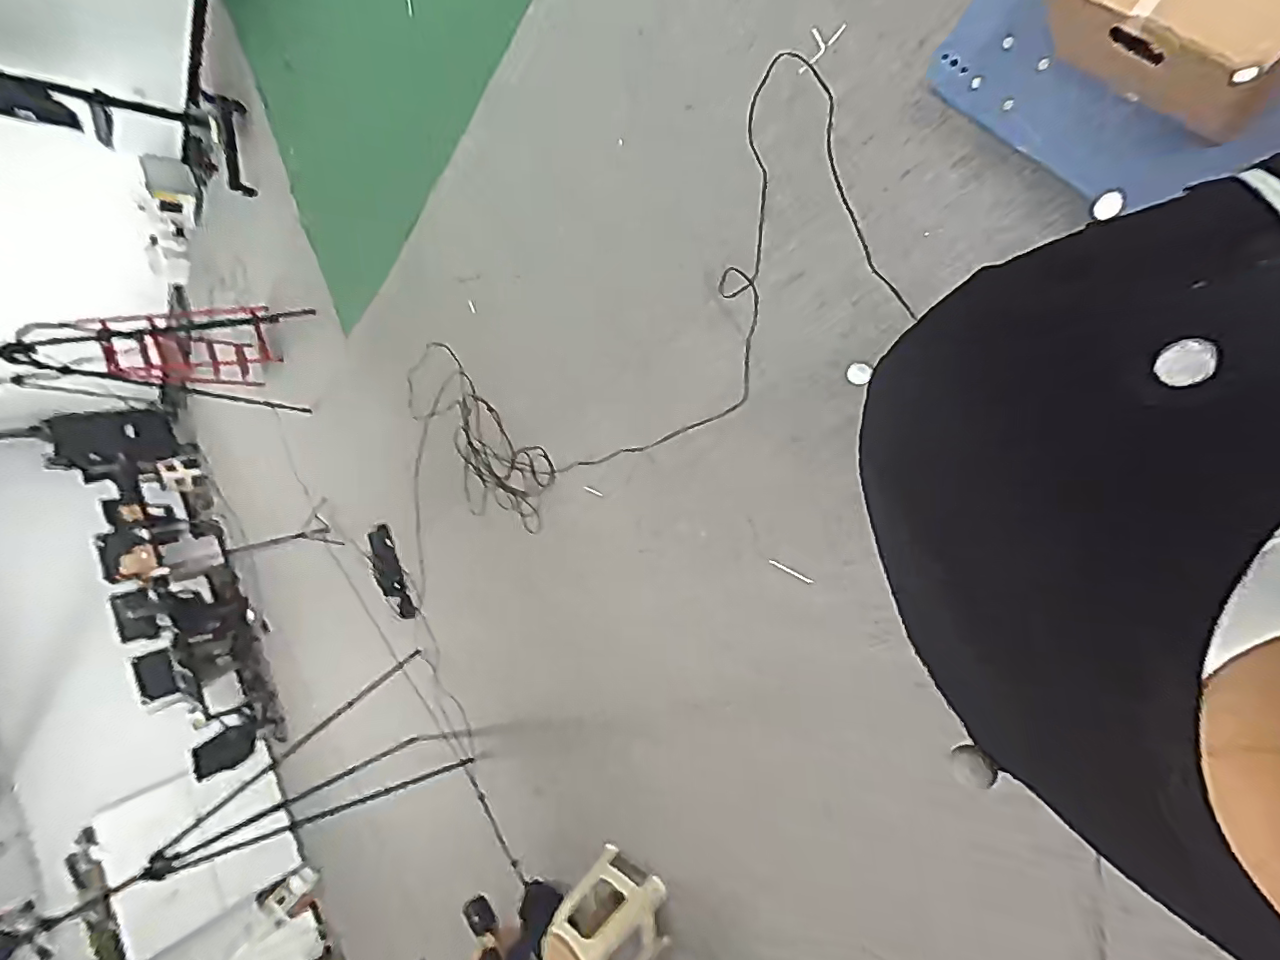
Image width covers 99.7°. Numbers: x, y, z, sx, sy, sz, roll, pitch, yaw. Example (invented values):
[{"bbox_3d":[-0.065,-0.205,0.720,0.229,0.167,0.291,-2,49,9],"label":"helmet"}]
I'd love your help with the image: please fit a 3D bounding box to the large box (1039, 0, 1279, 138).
[{"bbox_3d":[0.811,-0.744,0.678,0.320,0.320,0.408,52,130,21],"label":"large box"}]
